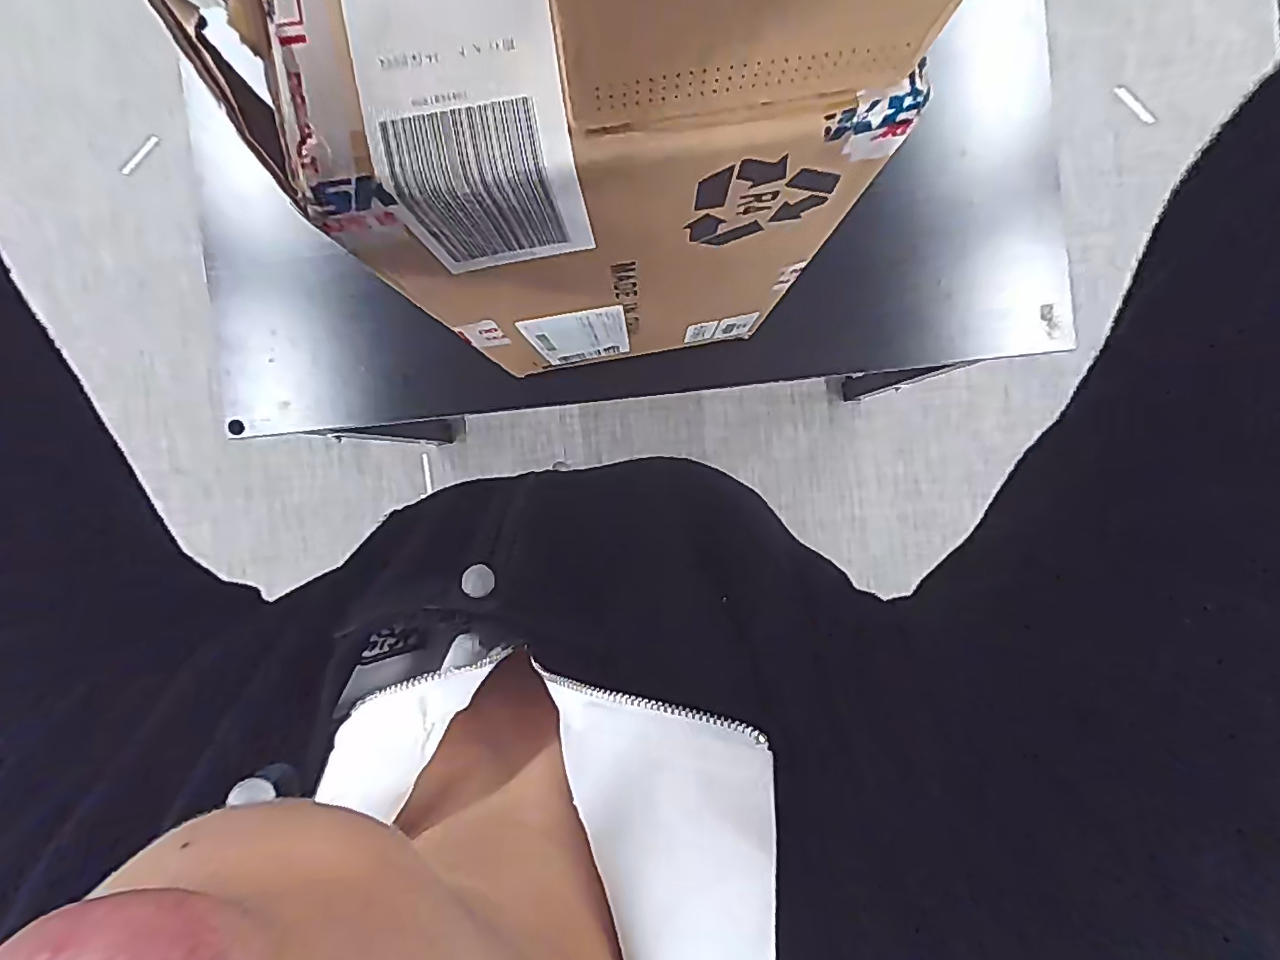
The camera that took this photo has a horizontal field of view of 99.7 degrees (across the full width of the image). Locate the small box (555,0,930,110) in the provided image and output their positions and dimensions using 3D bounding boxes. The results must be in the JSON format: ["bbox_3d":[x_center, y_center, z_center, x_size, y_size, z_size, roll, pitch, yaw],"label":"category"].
[{"bbox_3d":[0.040,-0.274,0.198,0.179,0.176,0.168,-9,93,0],"label":"small box"}]
